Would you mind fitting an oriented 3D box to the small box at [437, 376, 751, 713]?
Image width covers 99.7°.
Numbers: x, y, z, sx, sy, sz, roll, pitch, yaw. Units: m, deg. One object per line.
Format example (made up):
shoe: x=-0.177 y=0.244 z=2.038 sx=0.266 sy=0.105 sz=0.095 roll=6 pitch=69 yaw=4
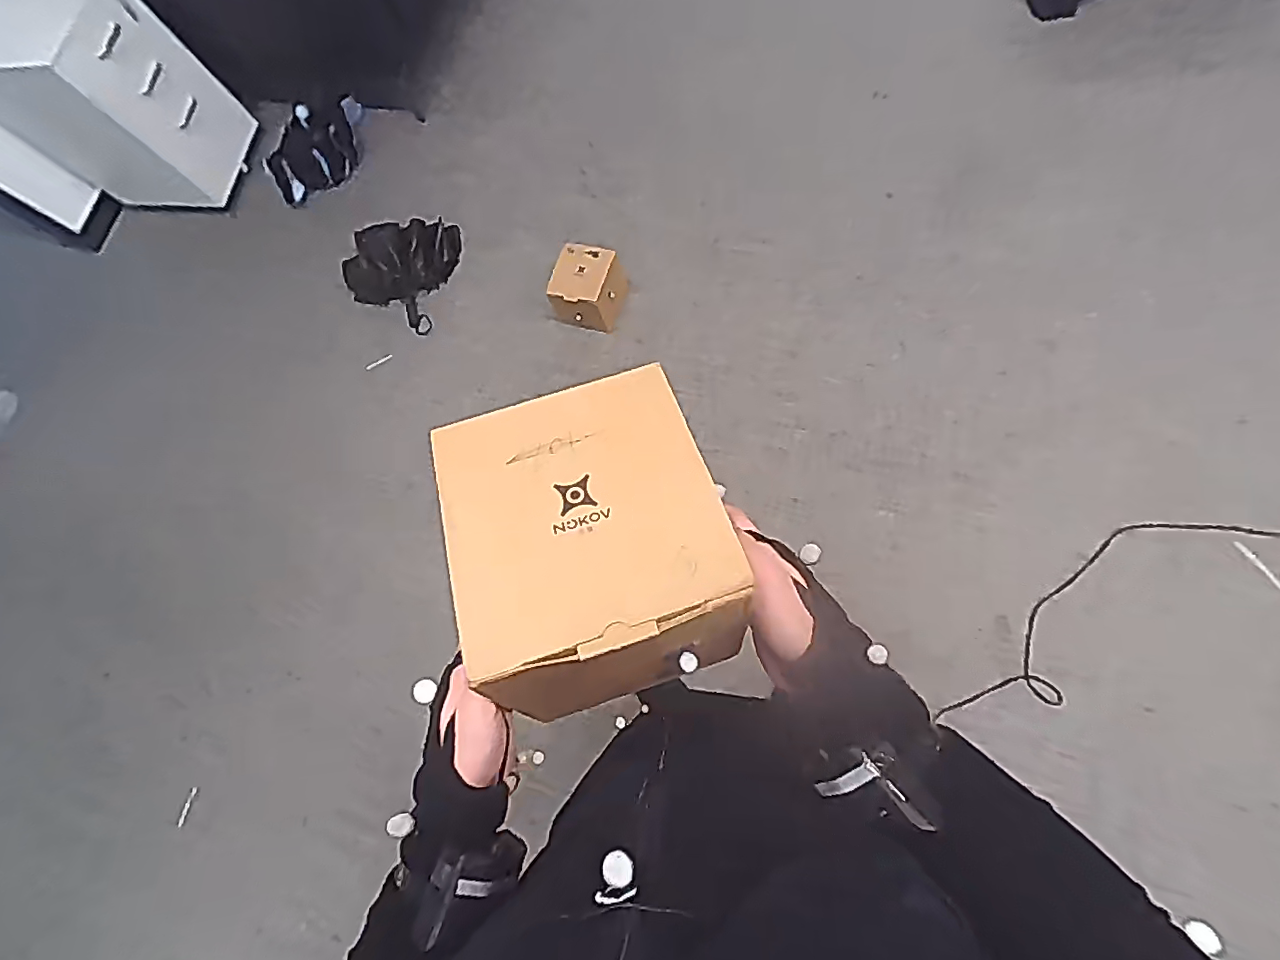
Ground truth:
small box: x=-0.030 y=0.059 z=0.402 sx=0.168 sy=0.176 sz=0.179 roll=-17 pitch=59 yaw=-5
